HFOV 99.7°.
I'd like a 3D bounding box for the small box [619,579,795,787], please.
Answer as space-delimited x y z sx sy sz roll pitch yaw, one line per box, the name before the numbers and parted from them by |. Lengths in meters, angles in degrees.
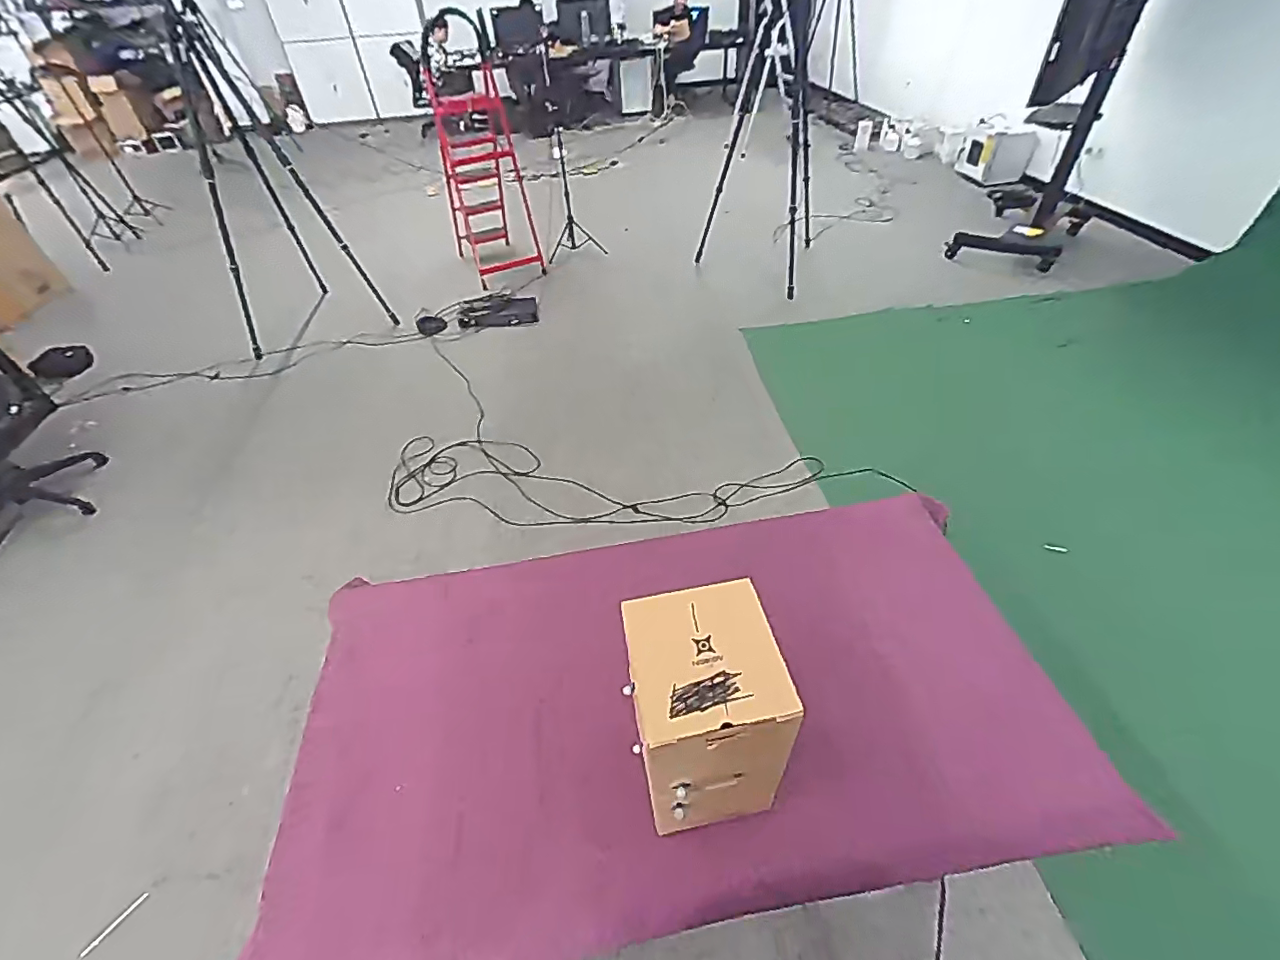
small box | 0.073 0.252 0.661 0.168 0.176 0.179 -9 43 -5
